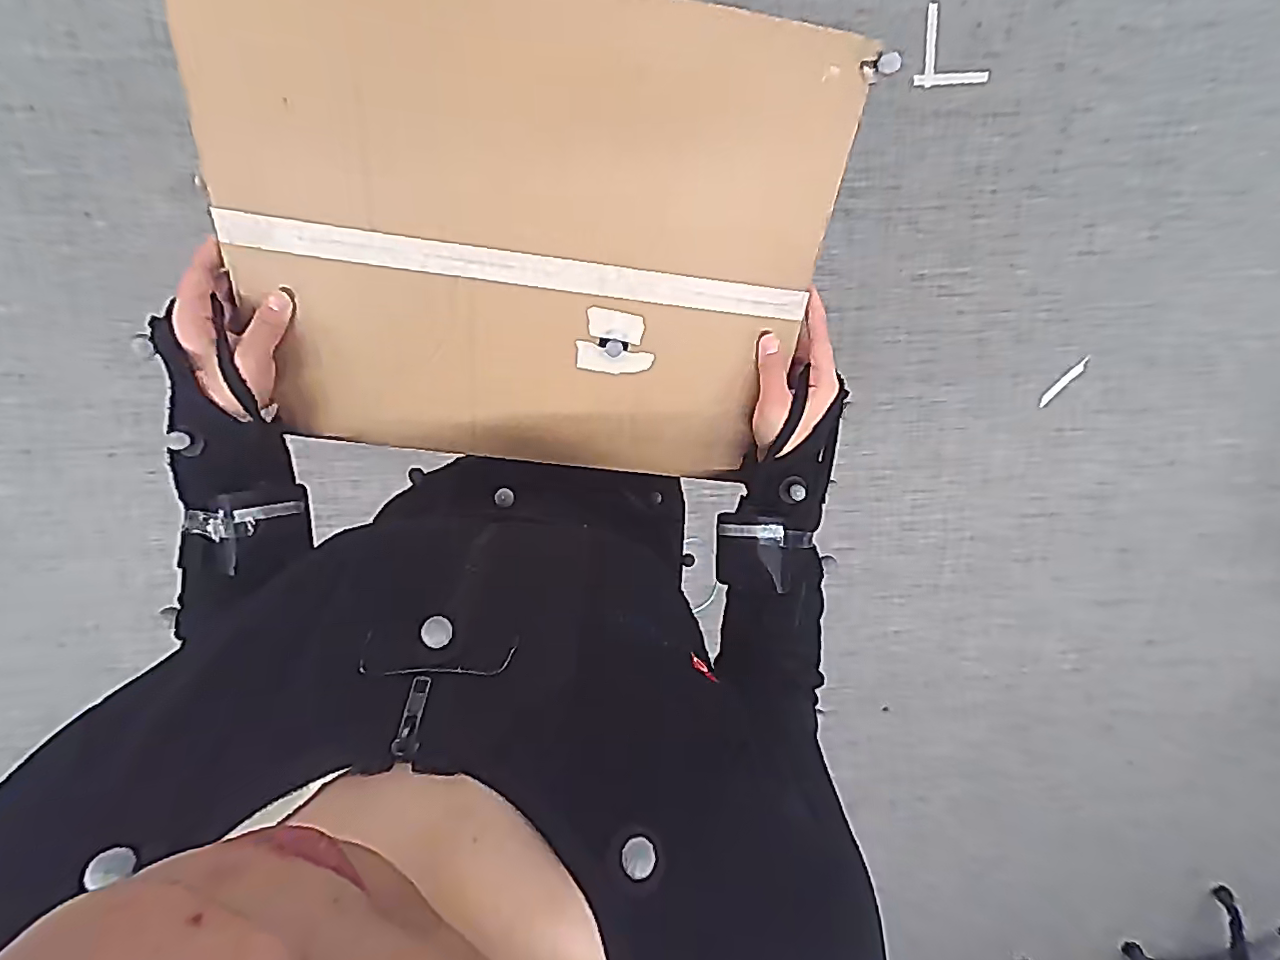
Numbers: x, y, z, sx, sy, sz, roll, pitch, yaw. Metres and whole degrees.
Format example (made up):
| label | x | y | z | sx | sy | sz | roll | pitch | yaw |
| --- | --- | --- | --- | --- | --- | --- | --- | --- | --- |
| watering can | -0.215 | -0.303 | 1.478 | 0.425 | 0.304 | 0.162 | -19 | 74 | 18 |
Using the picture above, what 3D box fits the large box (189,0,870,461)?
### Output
| label | x | y | z | sx | sy | sz | roll | pitch | yaw |
| --- | --- | --- | --- | --- | --- | --- | --- | --- | --- |
| large box | -0.083 | -0.238 | 0.510 | 0.408 | 0.320 | 0.320 | 6 | 122 | -7 |
